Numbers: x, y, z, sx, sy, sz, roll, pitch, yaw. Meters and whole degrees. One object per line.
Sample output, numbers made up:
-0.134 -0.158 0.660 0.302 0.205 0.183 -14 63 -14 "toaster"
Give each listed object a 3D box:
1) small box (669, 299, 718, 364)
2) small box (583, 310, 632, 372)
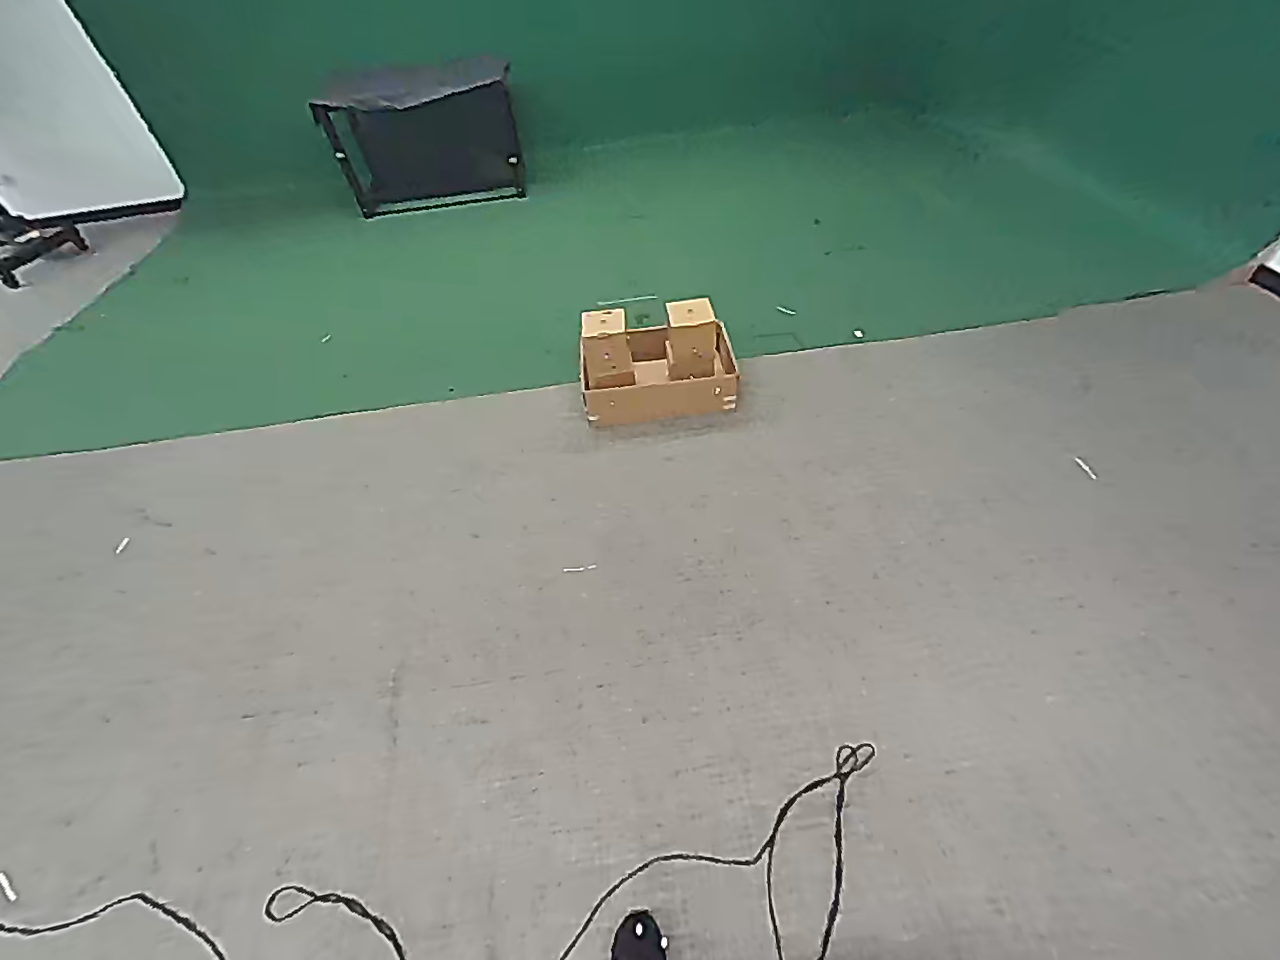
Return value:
0.205 -0.571 2.089 0.168 0.176 0.179 -8 48 1 "small box"
-0.124 -0.531 2.093 0.168 0.176 0.179 -6 49 2 "small box"
